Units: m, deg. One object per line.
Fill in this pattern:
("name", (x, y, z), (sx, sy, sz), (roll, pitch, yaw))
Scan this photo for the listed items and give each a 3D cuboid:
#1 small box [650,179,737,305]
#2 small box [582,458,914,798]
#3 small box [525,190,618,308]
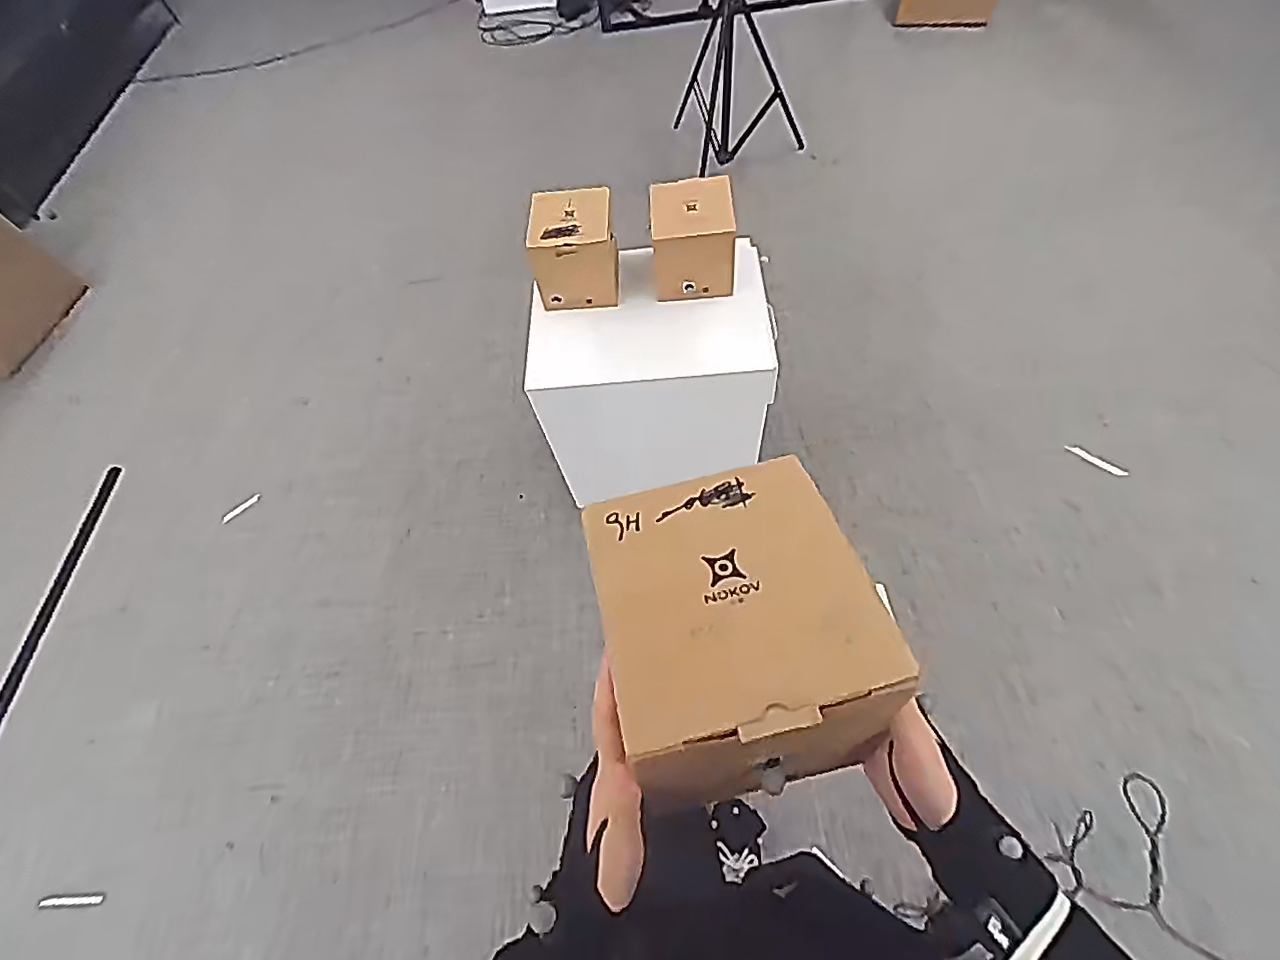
("small box", (0.111, -0.501, 1.150), (0.168, 0.176, 0.179), (-5, 63, 5))
("small box", (0.062, 0.116, 0.399), (0.168, 0.176, 0.179), (-13, 50, -4))
("small box", (-0.138, -0.489, 1.167), (0.168, 0.176, 0.179), (-3, 61, 4))
